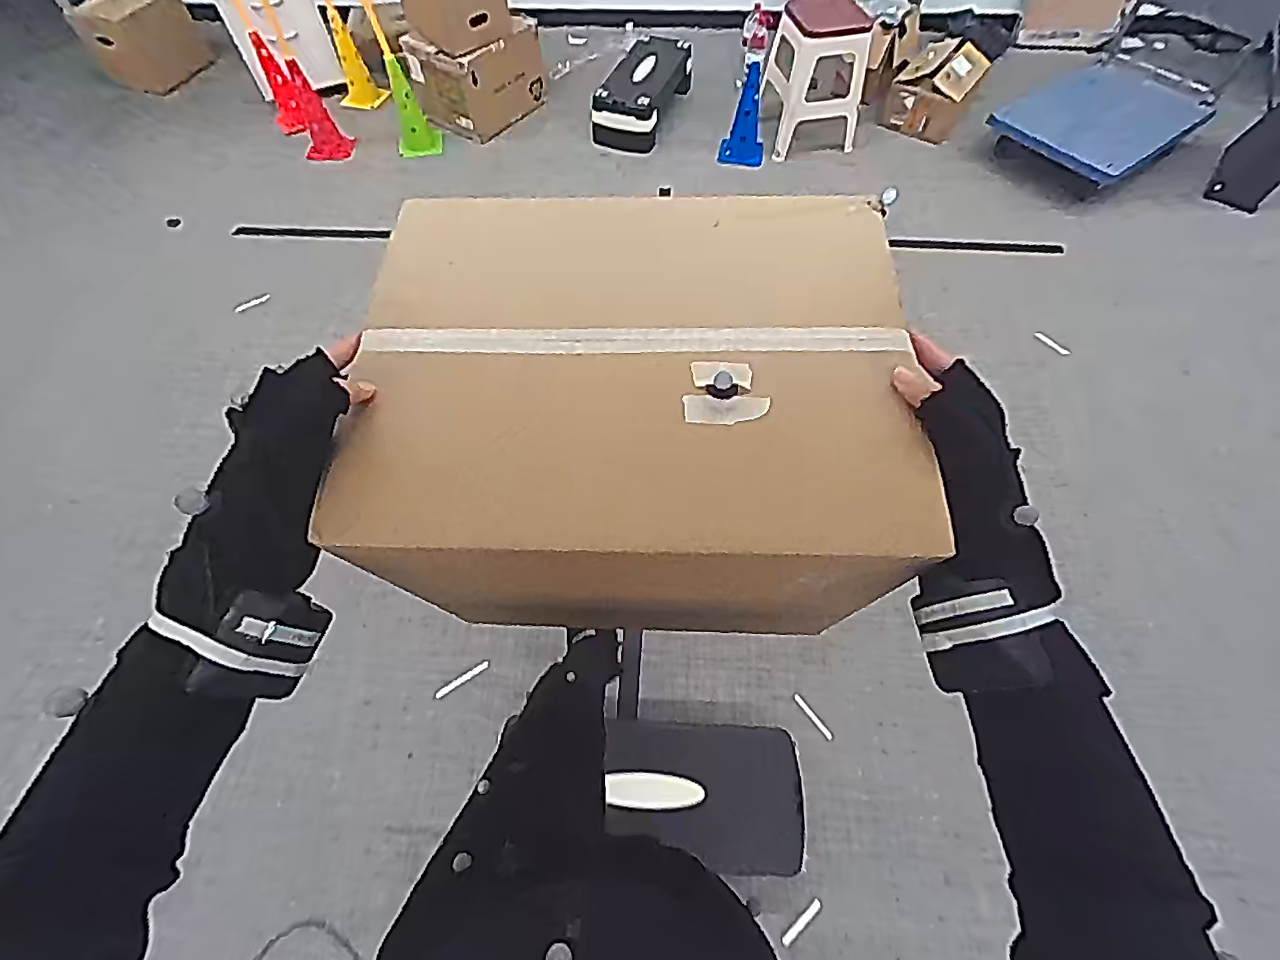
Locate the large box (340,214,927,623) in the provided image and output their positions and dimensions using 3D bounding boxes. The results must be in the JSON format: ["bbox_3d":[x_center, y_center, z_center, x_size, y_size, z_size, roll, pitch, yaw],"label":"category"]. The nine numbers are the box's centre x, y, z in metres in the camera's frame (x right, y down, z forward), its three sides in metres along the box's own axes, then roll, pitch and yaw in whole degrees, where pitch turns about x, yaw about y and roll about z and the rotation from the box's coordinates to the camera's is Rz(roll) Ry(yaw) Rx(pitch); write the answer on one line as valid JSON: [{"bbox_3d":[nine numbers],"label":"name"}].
[{"bbox_3d":[-0.001,-0.037,0.557,0.408,0.320,0.320,1,66,3],"label":"large box"}]
